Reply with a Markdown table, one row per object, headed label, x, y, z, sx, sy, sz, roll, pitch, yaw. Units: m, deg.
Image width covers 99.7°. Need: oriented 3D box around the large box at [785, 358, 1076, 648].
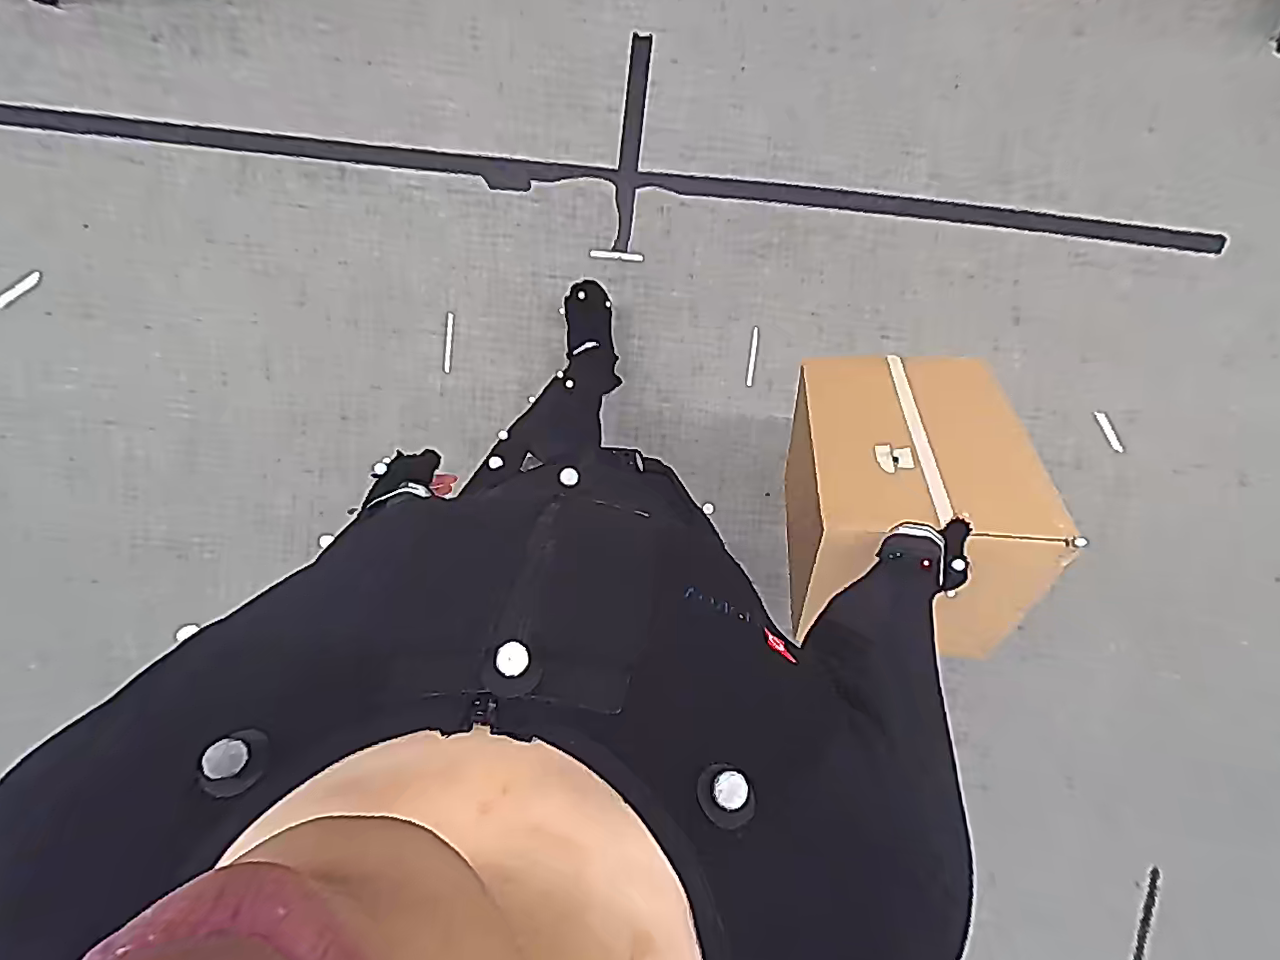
| label | x | y | z | sx | sy | sz | roll | pitch | yaw |
| --- | --- | --- | --- | --- | --- | --- | --- | --- | --- |
| large box | 0.441 | 0.031 | 0.950 | 0.320 | 0.408 | 0.320 | 2 | 138 | 9 |
